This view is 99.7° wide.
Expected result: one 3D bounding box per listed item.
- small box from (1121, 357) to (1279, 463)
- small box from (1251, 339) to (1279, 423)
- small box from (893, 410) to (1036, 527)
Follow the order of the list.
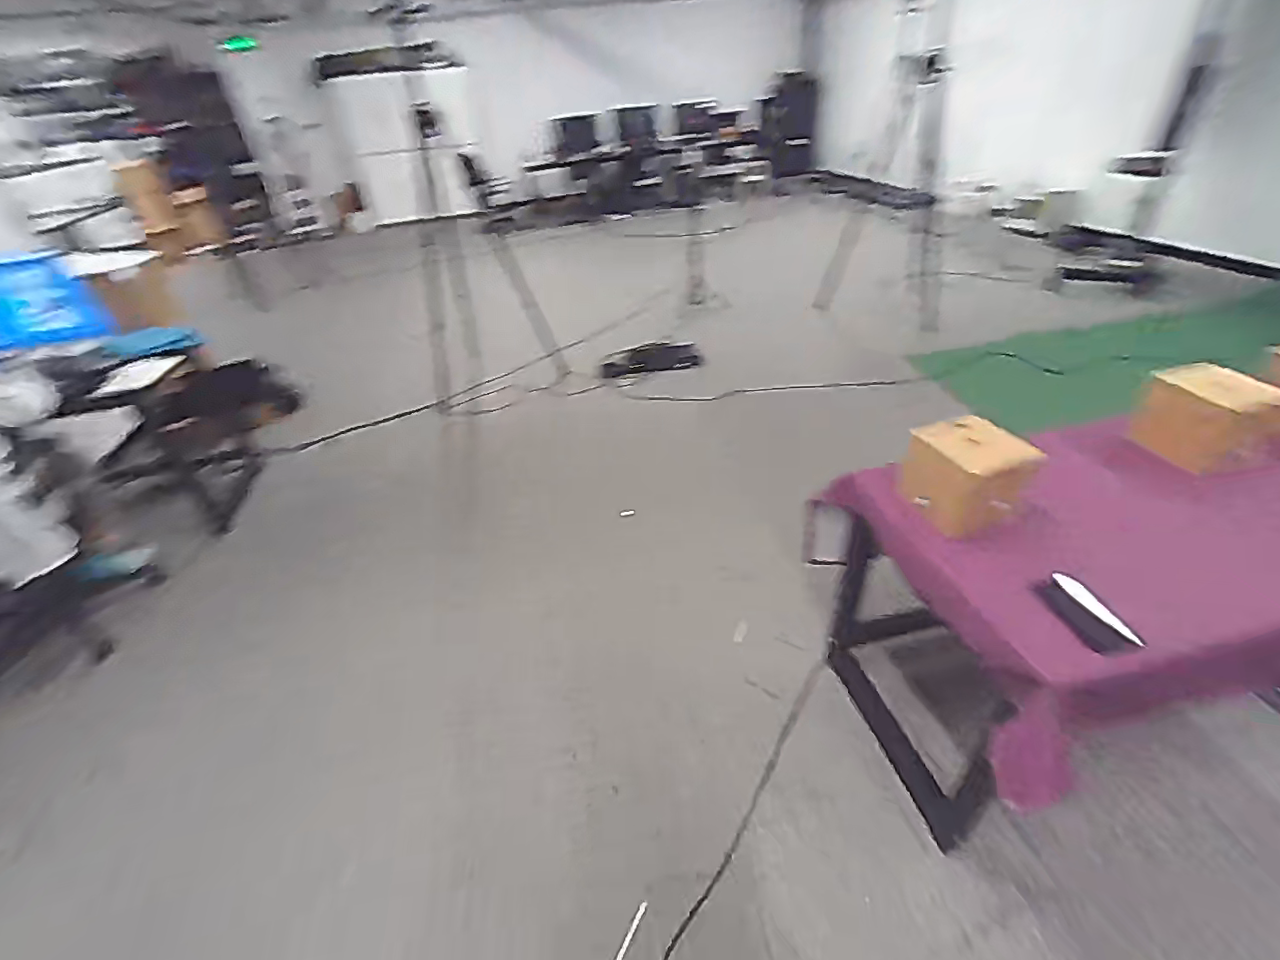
[{"bbox_3d":[1.275,-0.161,1.240,0.168,0.176,0.179,-11,38,-6],"label":"small box"},{"bbox_3d":[1.597,-0.232,1.279,0.168,0.176,0.179,-13,37,-7],"label":"small box"},{"bbox_3d":[0.670,-0.020,1.140,0.168,0.176,0.179,-14,38,-12],"label":"small box"}]
